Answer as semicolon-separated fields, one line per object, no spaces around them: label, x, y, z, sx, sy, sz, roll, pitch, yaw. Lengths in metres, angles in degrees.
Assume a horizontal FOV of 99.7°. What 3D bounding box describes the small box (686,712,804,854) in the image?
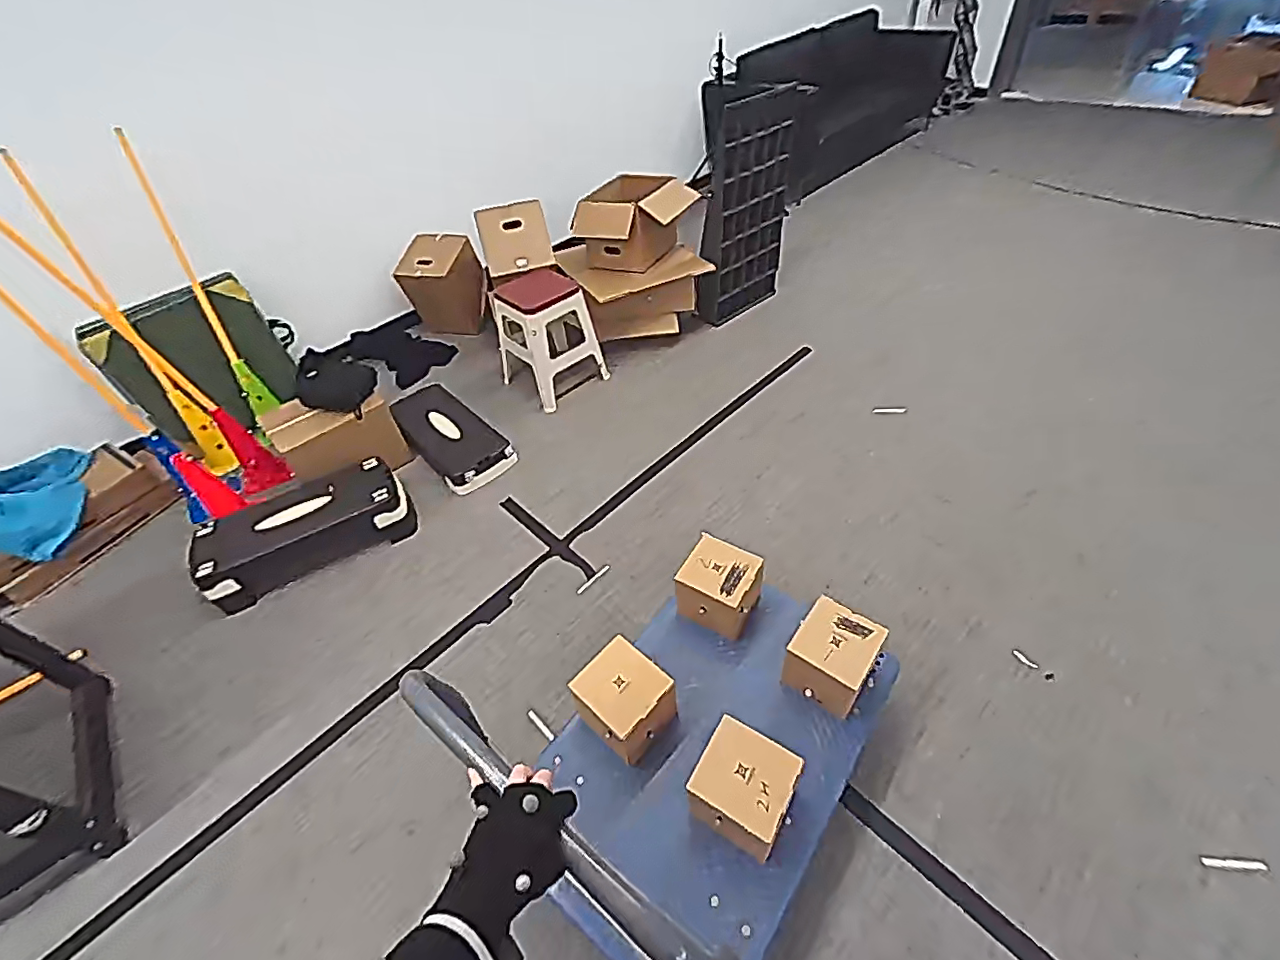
small box;0.208;0.614;1.090;0.179;0.176;0.168;23;53;27

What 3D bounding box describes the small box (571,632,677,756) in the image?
small box;-0.033;0.493;1.238;0.179;0.176;0.168;33;57;31

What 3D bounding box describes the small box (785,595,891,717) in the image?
small box;0.453;0.411;1.262;0.168;0.176;0.179;28;56;30
